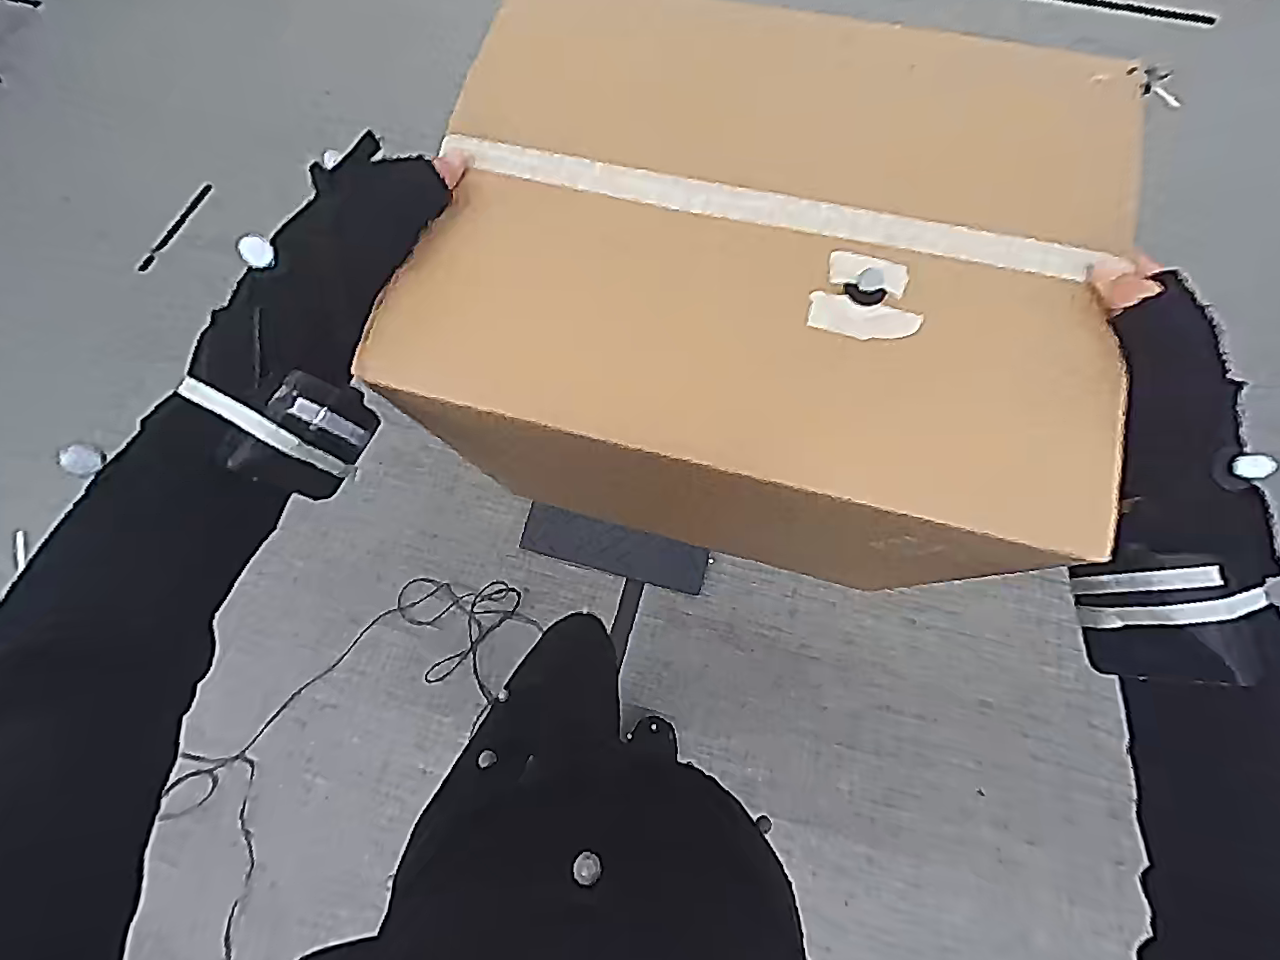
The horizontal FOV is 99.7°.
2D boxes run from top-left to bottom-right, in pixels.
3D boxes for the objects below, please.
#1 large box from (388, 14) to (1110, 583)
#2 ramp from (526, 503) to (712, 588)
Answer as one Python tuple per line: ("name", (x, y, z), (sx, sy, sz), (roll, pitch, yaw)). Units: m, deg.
("large box", (0.081, -0.115, 0.481), (0.408, 0.320, 0.320), (14, 78, 6))
("ramp", (0.052, -0.244, 1.505), (0.509, 0.206, 0.991), (13, 70, 4))
